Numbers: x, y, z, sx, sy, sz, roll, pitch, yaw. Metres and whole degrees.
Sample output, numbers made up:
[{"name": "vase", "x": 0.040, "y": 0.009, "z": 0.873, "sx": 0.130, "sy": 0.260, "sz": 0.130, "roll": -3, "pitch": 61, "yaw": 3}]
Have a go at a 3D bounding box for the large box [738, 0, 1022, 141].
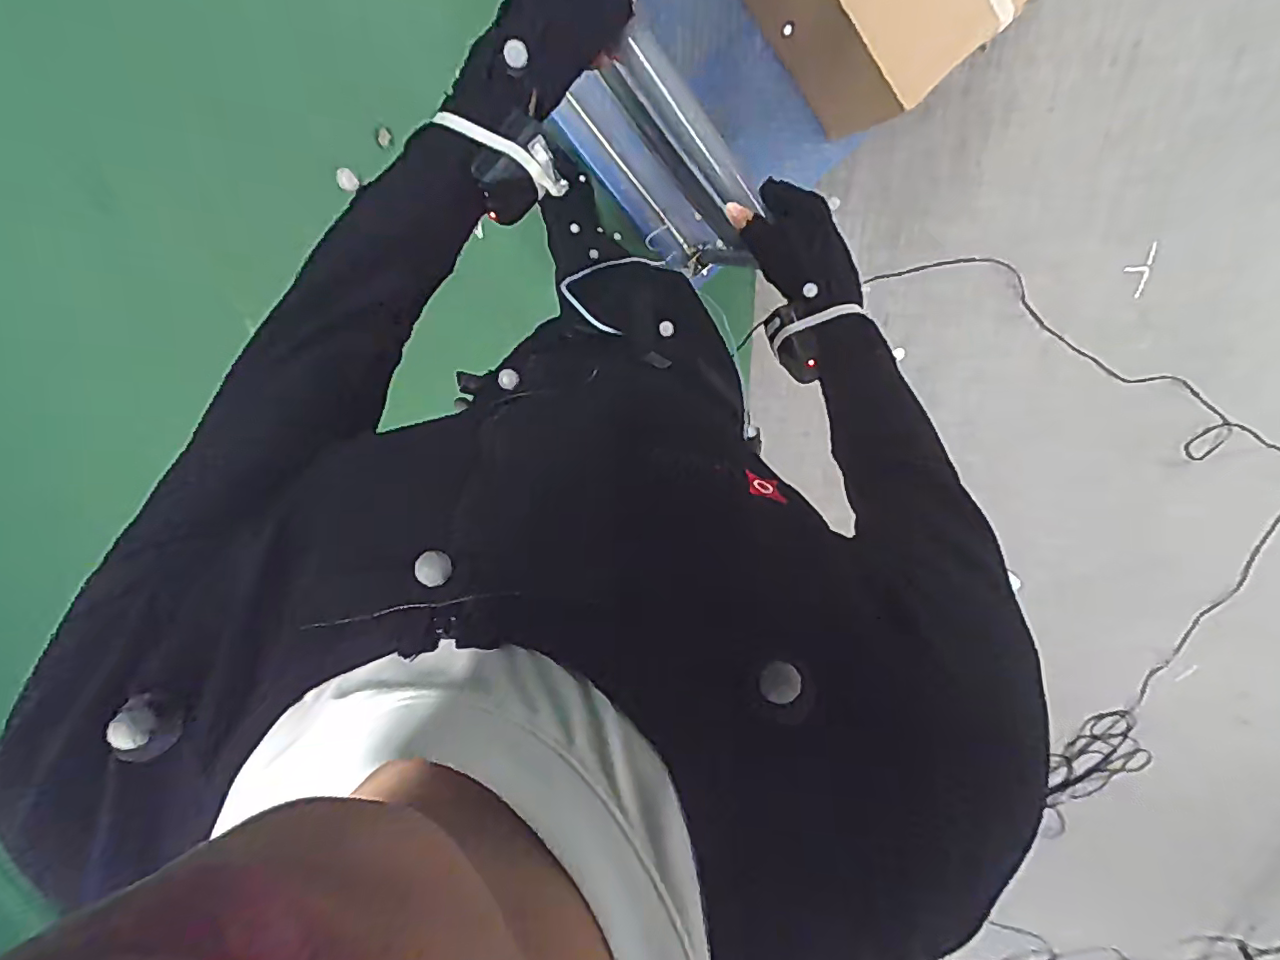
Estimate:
[{"name": "large box", "x": 0.354, "y": -0.817, "z": 0.817, "sx": 0.320, "sy": 0.320, "sz": 0.408, "roll": -40, "pitch": 109, "yaw": 15}]
